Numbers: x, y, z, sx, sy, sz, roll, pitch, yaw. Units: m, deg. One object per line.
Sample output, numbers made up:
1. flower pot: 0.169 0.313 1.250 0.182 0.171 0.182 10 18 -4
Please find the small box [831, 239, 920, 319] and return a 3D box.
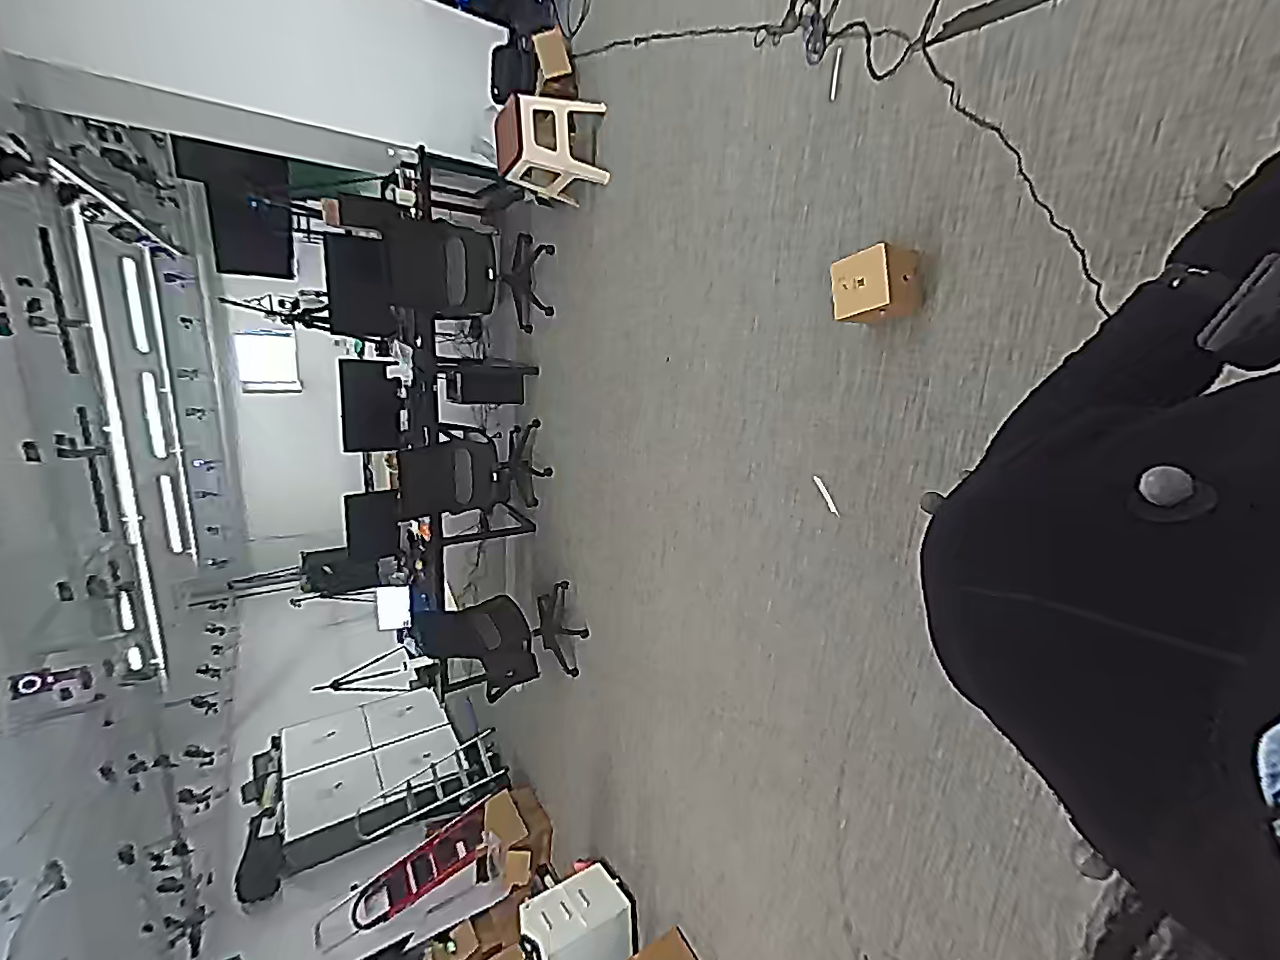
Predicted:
1. small box: 0.675 -0.564 1.537 0.179 0.176 0.168 -2 94 57
